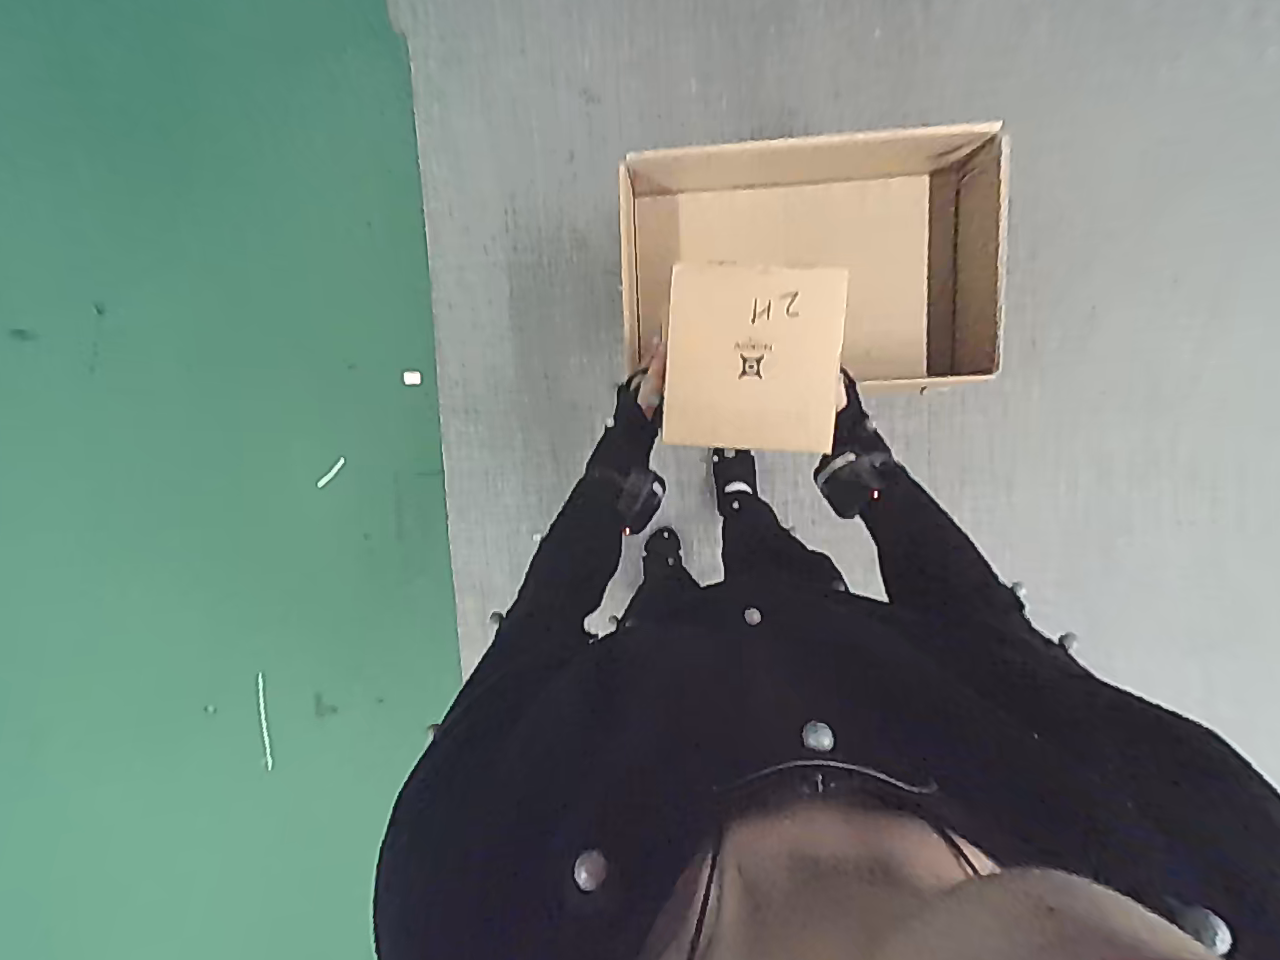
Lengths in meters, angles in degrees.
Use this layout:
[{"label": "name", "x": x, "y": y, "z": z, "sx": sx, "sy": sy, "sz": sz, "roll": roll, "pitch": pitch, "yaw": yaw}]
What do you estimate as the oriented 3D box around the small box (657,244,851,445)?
[{"label": "small box", "x": 0.110, "y": -0.134, "z": 0.580, "sx": 0.168, "sy": 0.176, "sz": 0.179, "roll": 4, "pitch": 96, "yaw": 4}]
